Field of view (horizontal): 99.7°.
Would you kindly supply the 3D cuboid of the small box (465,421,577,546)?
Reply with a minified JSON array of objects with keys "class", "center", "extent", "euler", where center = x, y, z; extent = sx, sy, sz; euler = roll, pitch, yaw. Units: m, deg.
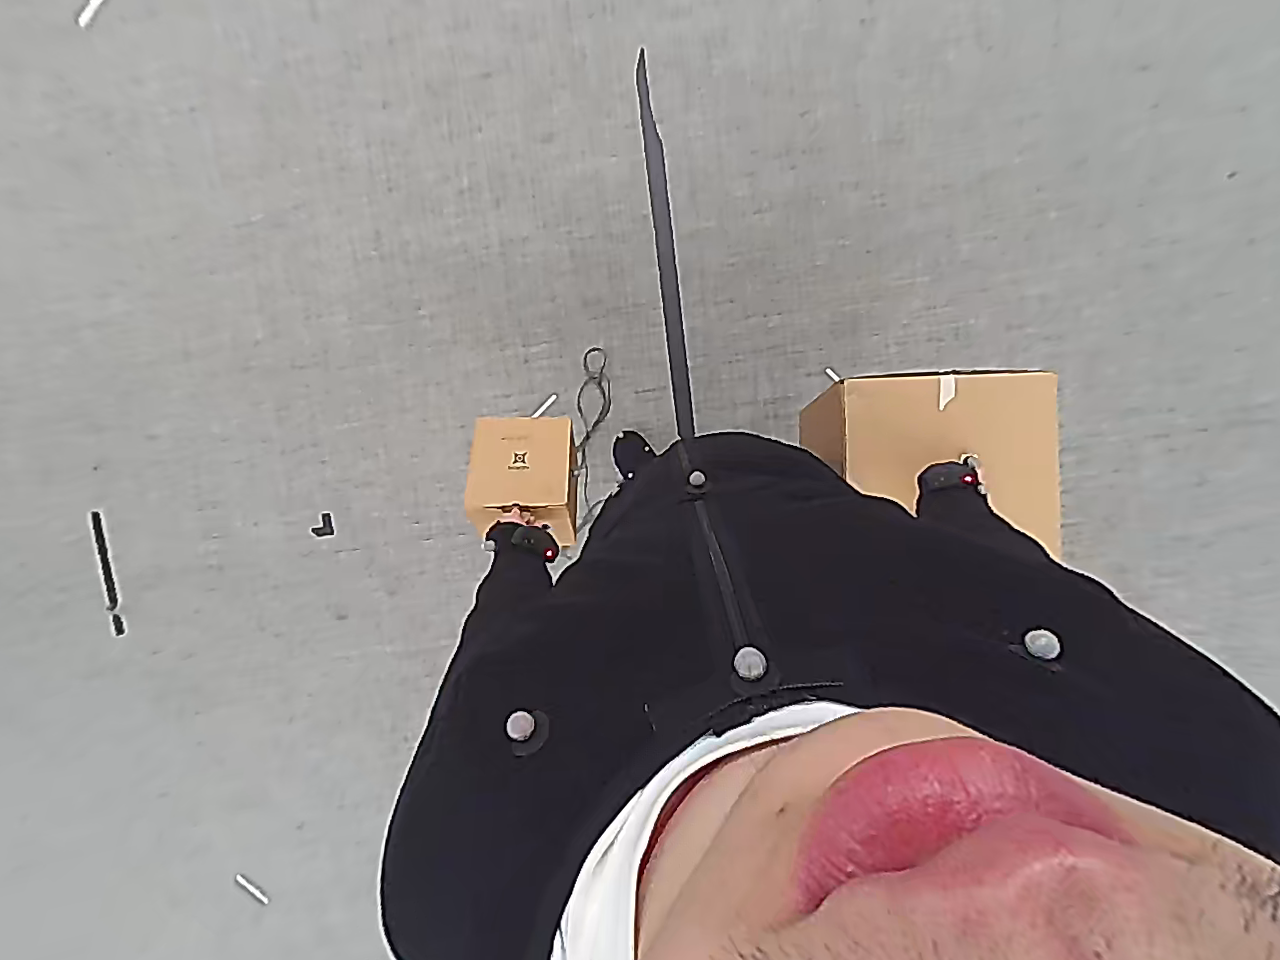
[{"class":"small box","center":[-0.202,0.013,0.972],"extent":[0.168,0.176,0.179],"euler":[0,60,-3]}]
